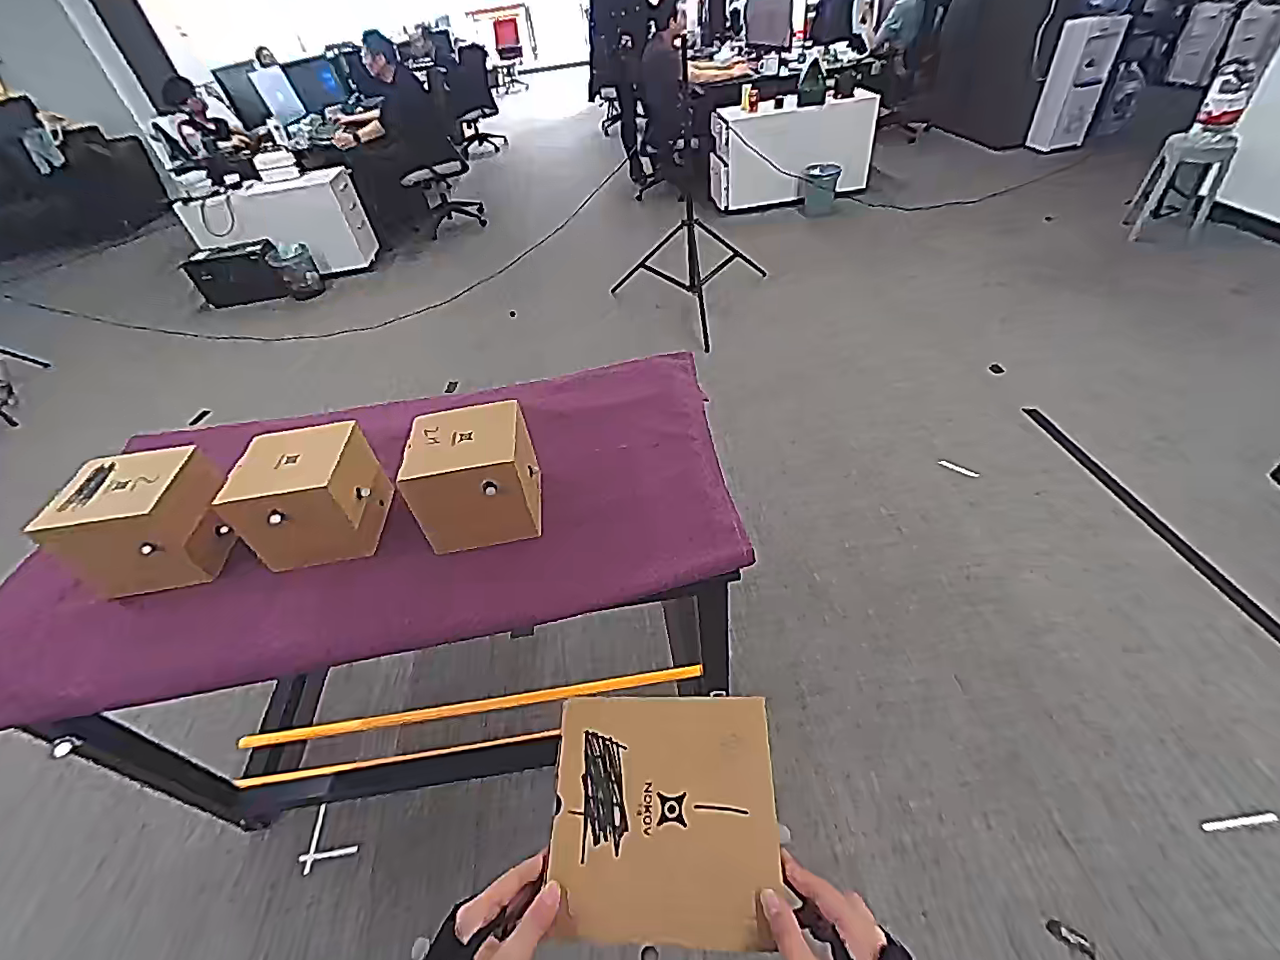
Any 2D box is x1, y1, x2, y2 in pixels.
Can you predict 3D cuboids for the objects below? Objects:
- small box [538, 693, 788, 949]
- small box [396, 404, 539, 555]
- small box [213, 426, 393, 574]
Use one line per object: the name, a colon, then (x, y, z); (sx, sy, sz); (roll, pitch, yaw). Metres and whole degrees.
small box: (0.028, 0.297, 0.476); (0.179, 0.176, 0.168); (-3, 52, 7)
small box: (-0.269, 0.001, 0.892); (0.179, 0.176, 0.168); (-11, 41, -1)
small box: (-0.544, 0.035, 0.908); (0.179, 0.176, 0.168); (-10, 43, 0)
